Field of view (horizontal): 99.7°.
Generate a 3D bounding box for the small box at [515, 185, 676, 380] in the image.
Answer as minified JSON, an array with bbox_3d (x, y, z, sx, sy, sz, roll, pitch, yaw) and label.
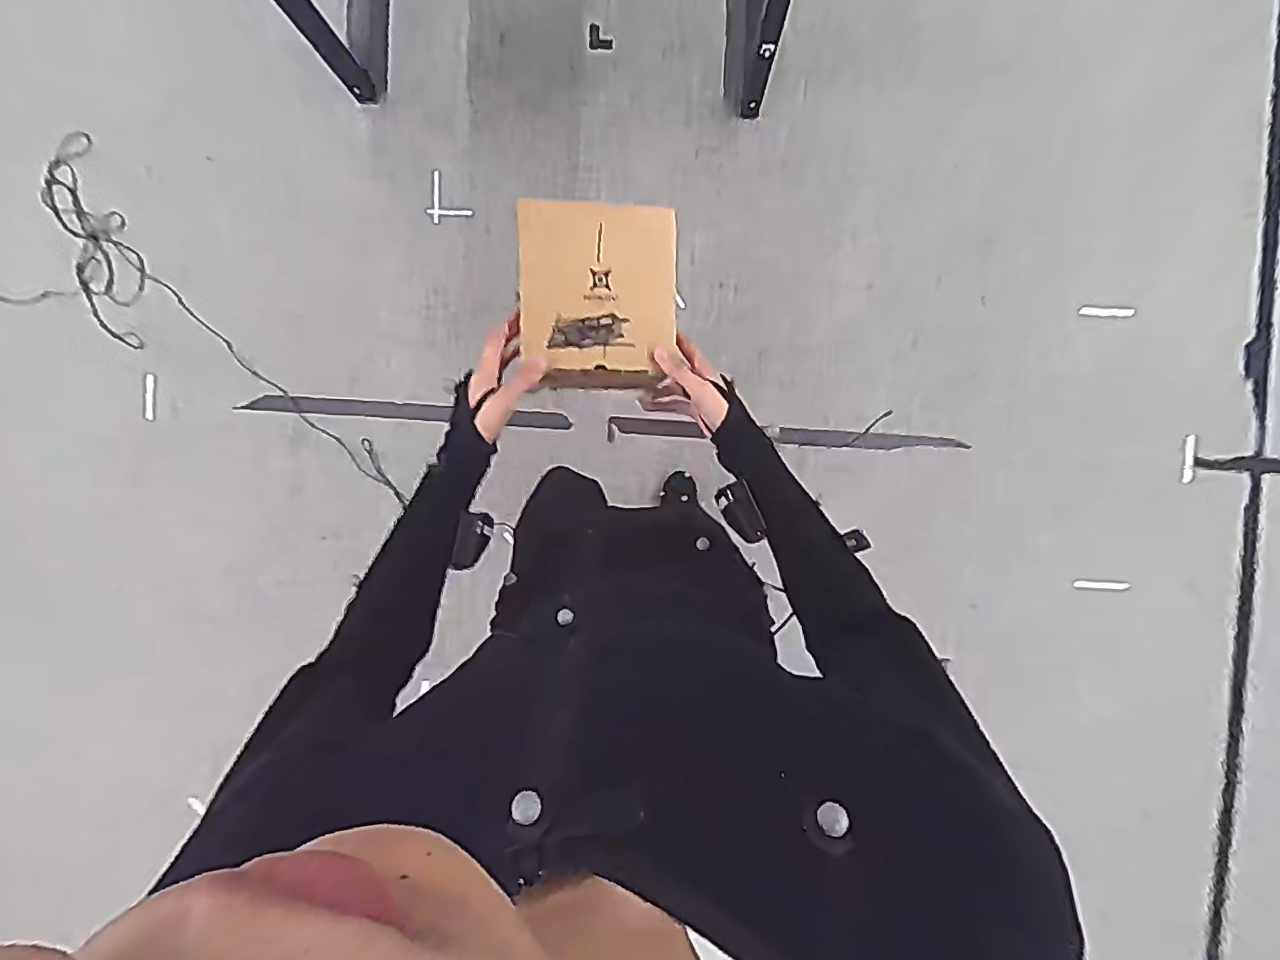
[{"bbox_3d":[-0.055,-0.212,0.631,0.168,0.176,0.179,-1,94,-9],"label":"small box"}]
